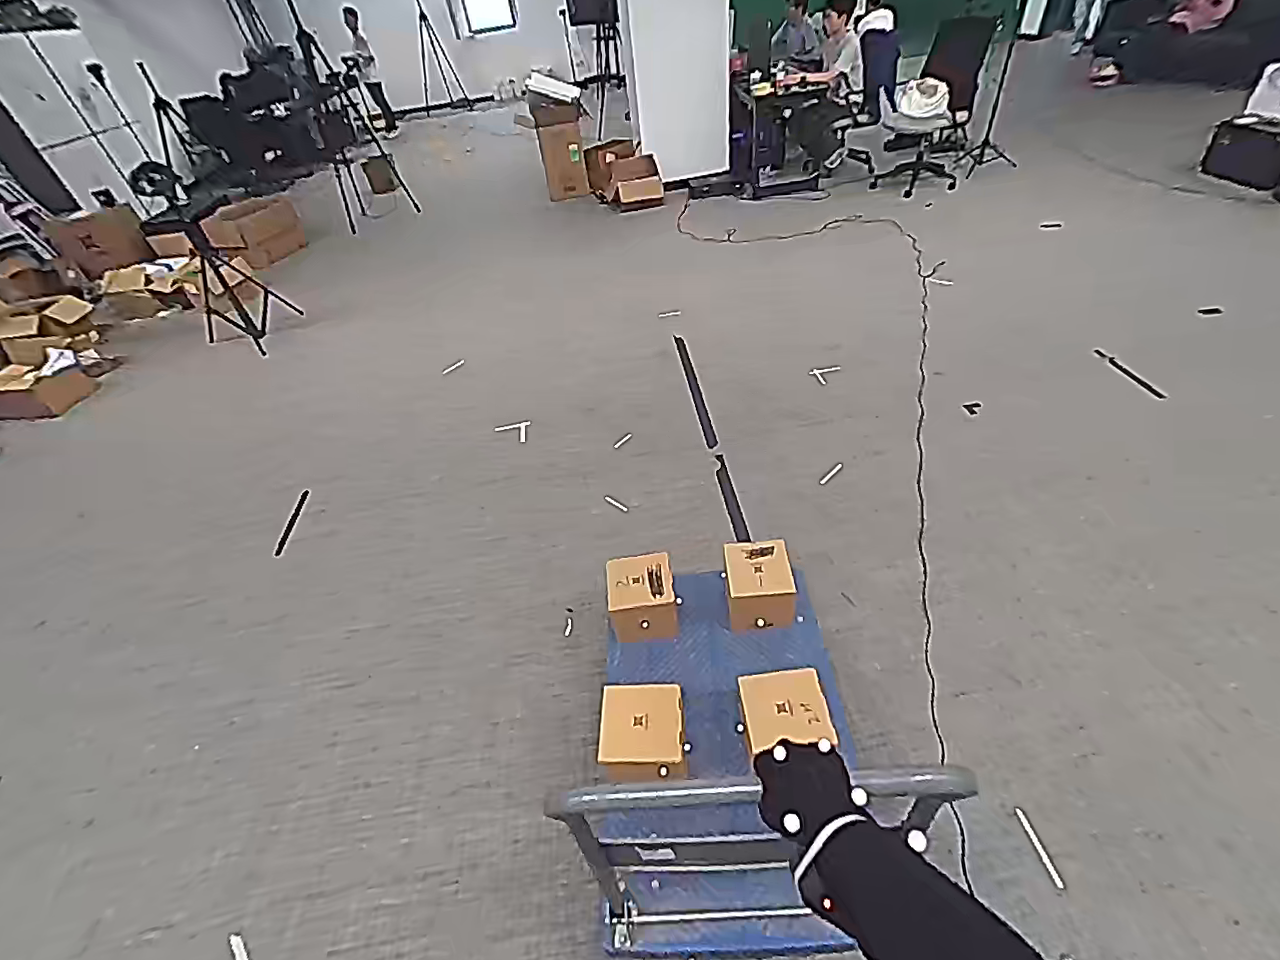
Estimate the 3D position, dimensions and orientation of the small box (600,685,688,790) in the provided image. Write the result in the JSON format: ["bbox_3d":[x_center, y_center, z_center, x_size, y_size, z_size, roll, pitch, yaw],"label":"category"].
[{"bbox_3d":[0.014,0.583,1.220,0.179,0.176,0.168,-3,42,5],"label":"small box"}]

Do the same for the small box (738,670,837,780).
[{"bbox_3d":[0.321,0.546,1.200,0.179,0.176,0.168,-8,42,3],"label":"small box"}]

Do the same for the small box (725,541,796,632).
[{"bbox_3d":[0.322,0.291,1.477,0.168,0.176,0.179,-6,43,5],"label":"small box"}]
